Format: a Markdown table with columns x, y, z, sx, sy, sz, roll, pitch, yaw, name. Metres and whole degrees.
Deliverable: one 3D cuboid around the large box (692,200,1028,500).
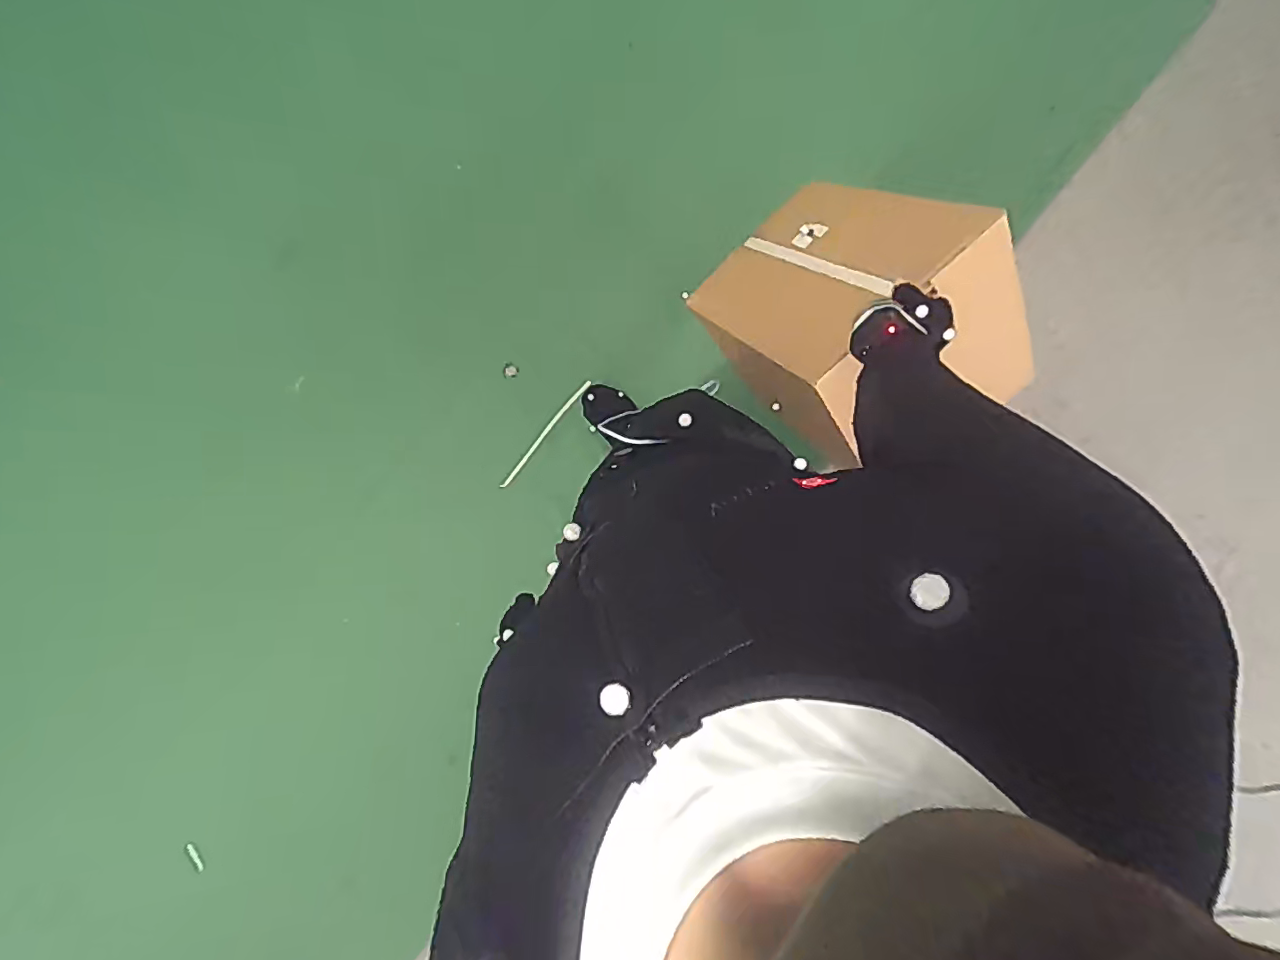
| x | y | z | sx | sy | sz | roll | pitch | yaw | name |
| --- | --- | --- | --- | --- | --- | --- | --- | --- | --- |
| 0.364 | -0.238 | 0.949 | 0.320 | 0.408 | 0.320 | -41 | 127 | 5 | large box |
